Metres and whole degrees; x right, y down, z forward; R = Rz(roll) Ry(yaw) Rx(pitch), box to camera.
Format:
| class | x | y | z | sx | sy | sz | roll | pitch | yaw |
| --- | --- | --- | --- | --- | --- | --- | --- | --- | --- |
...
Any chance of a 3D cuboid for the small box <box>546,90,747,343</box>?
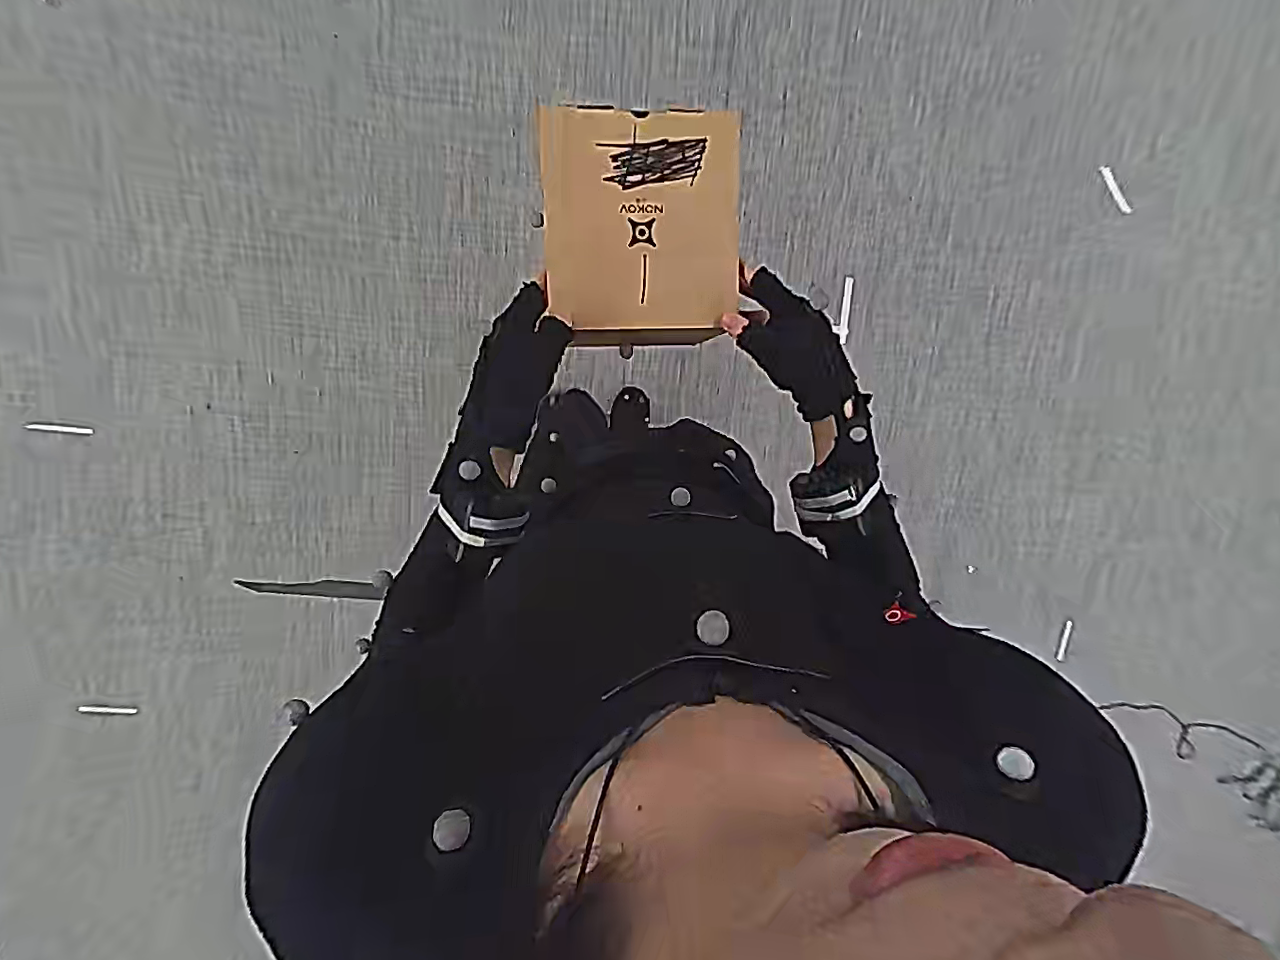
| class | x | y | z | sx | sy | sz | roll | pitch | yaw |
| --- | --- | --- | --- | --- | --- | --- | --- | --- | --- |
| small box | -0.003 | -0.230 | 0.518 | 0.168 | 0.176 | 0.179 | -2 | 99 | -6 |
